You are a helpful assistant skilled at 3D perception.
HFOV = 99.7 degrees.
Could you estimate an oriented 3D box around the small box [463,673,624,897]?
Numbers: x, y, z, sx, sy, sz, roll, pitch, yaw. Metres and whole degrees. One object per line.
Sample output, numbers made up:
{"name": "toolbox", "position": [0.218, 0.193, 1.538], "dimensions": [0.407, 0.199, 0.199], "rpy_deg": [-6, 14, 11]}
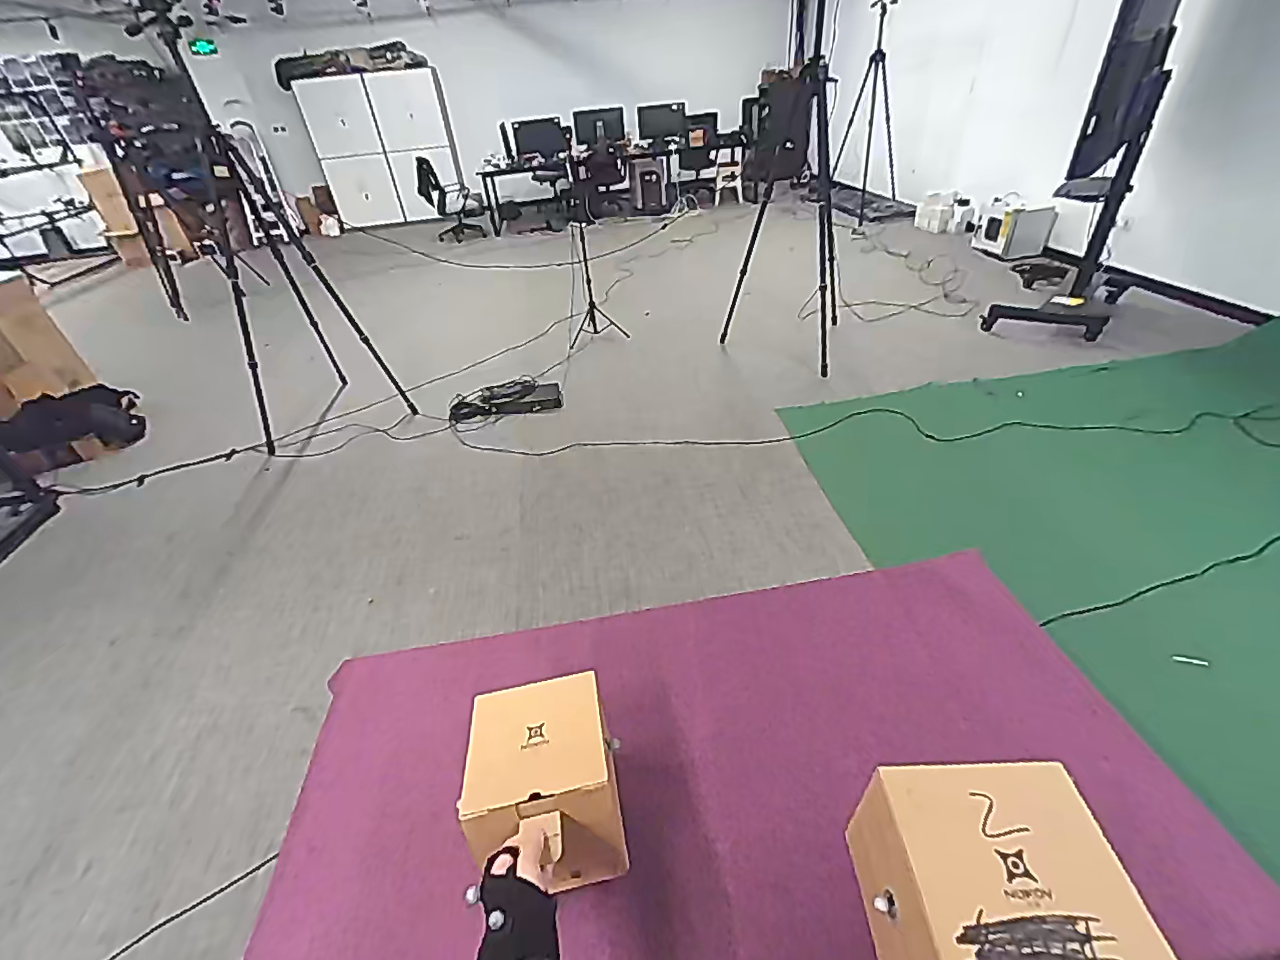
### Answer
{"name": "small box", "position": [-0.120, 0.391, 0.710], "dimensions": [0.168, 0.176, 0.179], "rpy_deg": [-11, 25, -6]}
